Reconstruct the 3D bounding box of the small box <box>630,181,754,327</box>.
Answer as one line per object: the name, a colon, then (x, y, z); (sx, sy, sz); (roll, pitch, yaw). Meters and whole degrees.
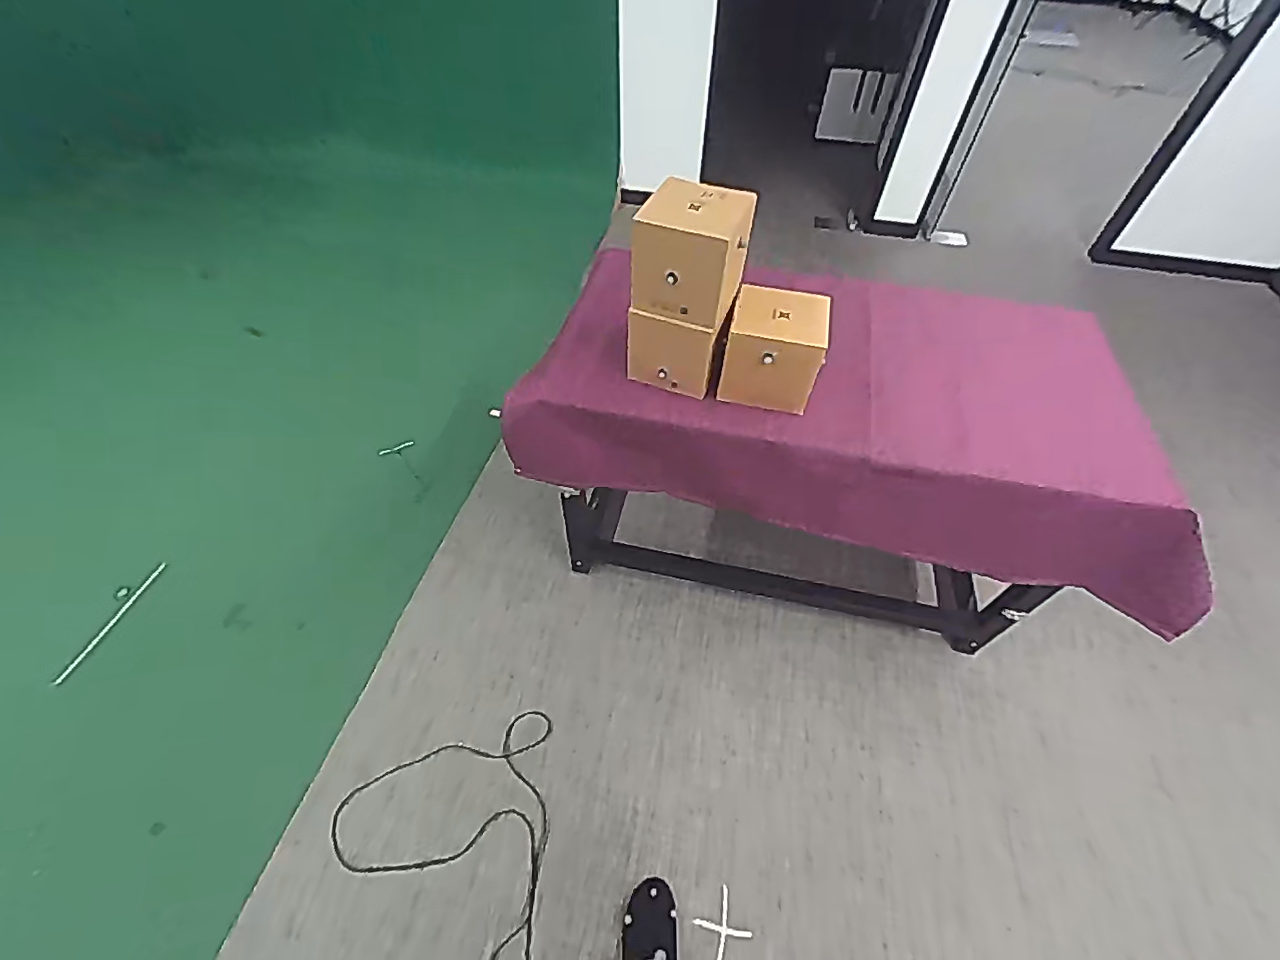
small box: (0.091, -0.402, 0.969); (0.168, 0.176, 0.179); (19, 53, 12)
